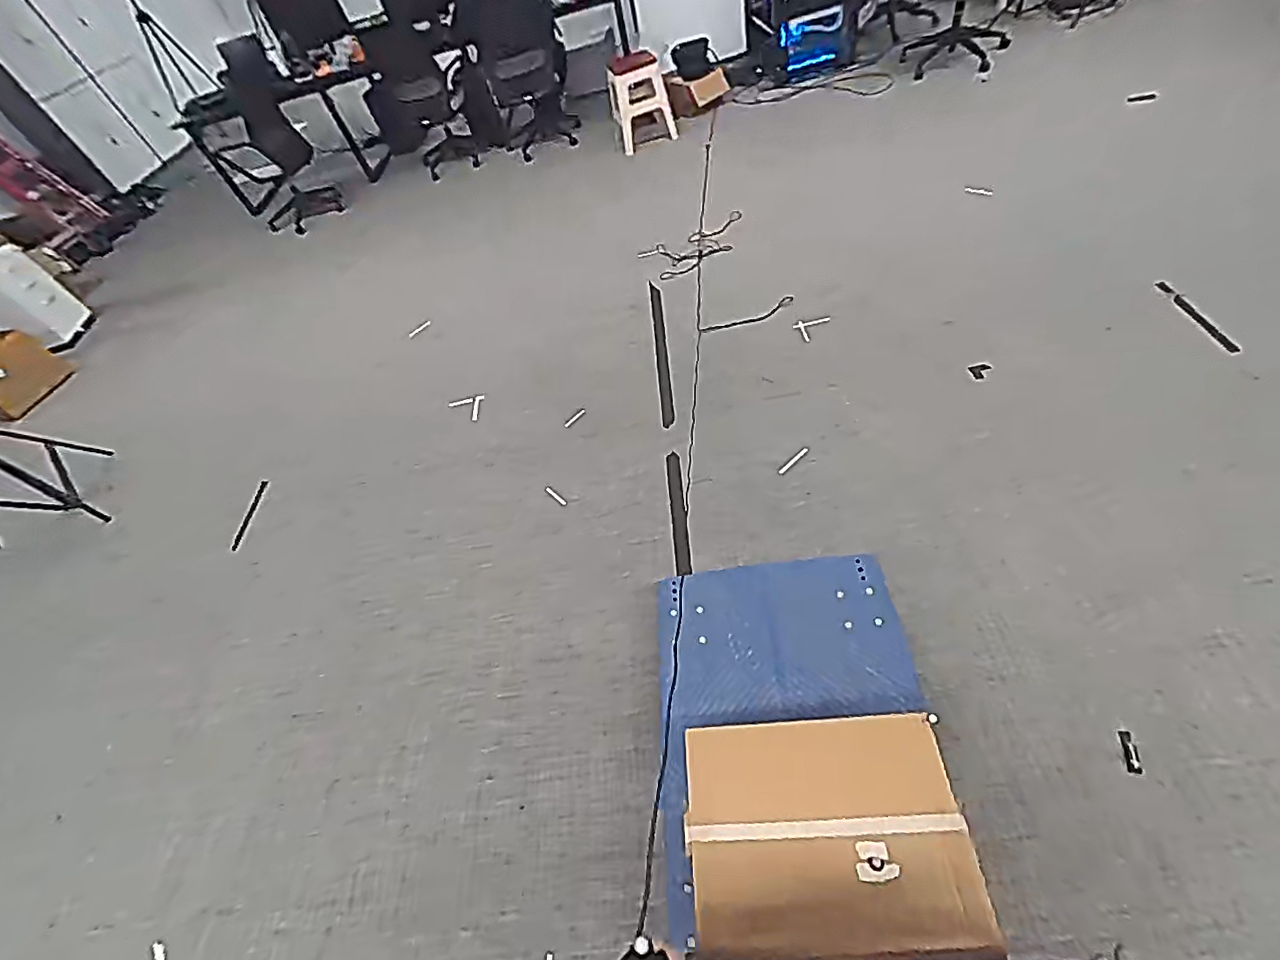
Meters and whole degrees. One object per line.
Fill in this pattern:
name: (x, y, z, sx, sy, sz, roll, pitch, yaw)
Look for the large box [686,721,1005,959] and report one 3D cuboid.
large box: (0.304, 0.635, 0.926, 0.408, 0.320, 0.320, -8, 50, 9)
